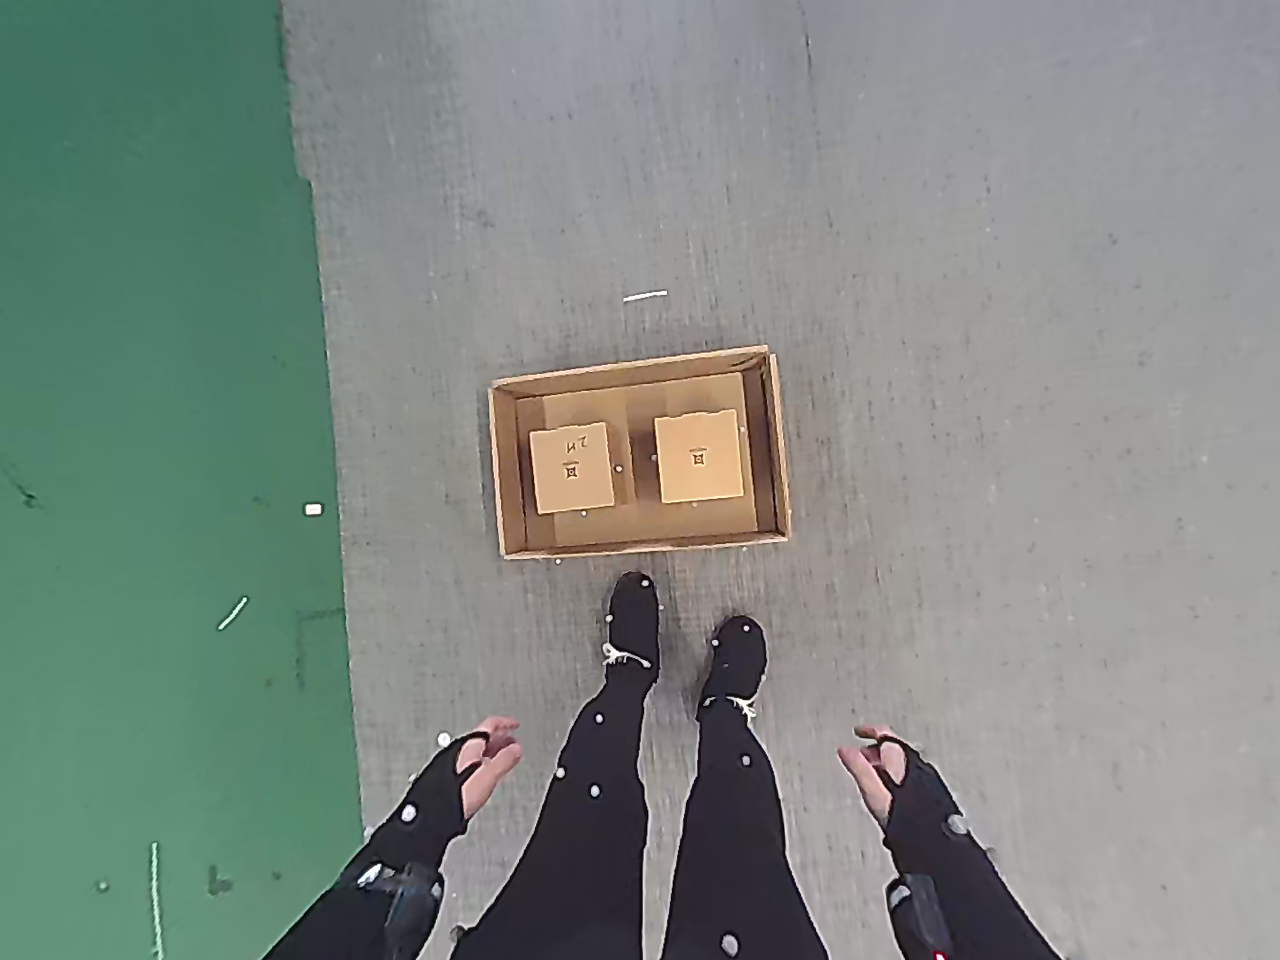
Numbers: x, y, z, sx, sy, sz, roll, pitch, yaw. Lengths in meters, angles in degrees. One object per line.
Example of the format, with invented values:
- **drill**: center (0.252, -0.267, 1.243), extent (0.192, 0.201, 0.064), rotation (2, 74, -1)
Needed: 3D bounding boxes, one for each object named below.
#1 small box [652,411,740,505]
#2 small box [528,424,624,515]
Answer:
- **small box**: center (0.124, -0.042, 1.154), extent (0.168, 0.176, 0.179), rotation (-6, 87, 9)
- **small box**: center (-0.134, -0.020, 1.191), extent (0.168, 0.176, 0.179), rotation (-6, 87, 7)
